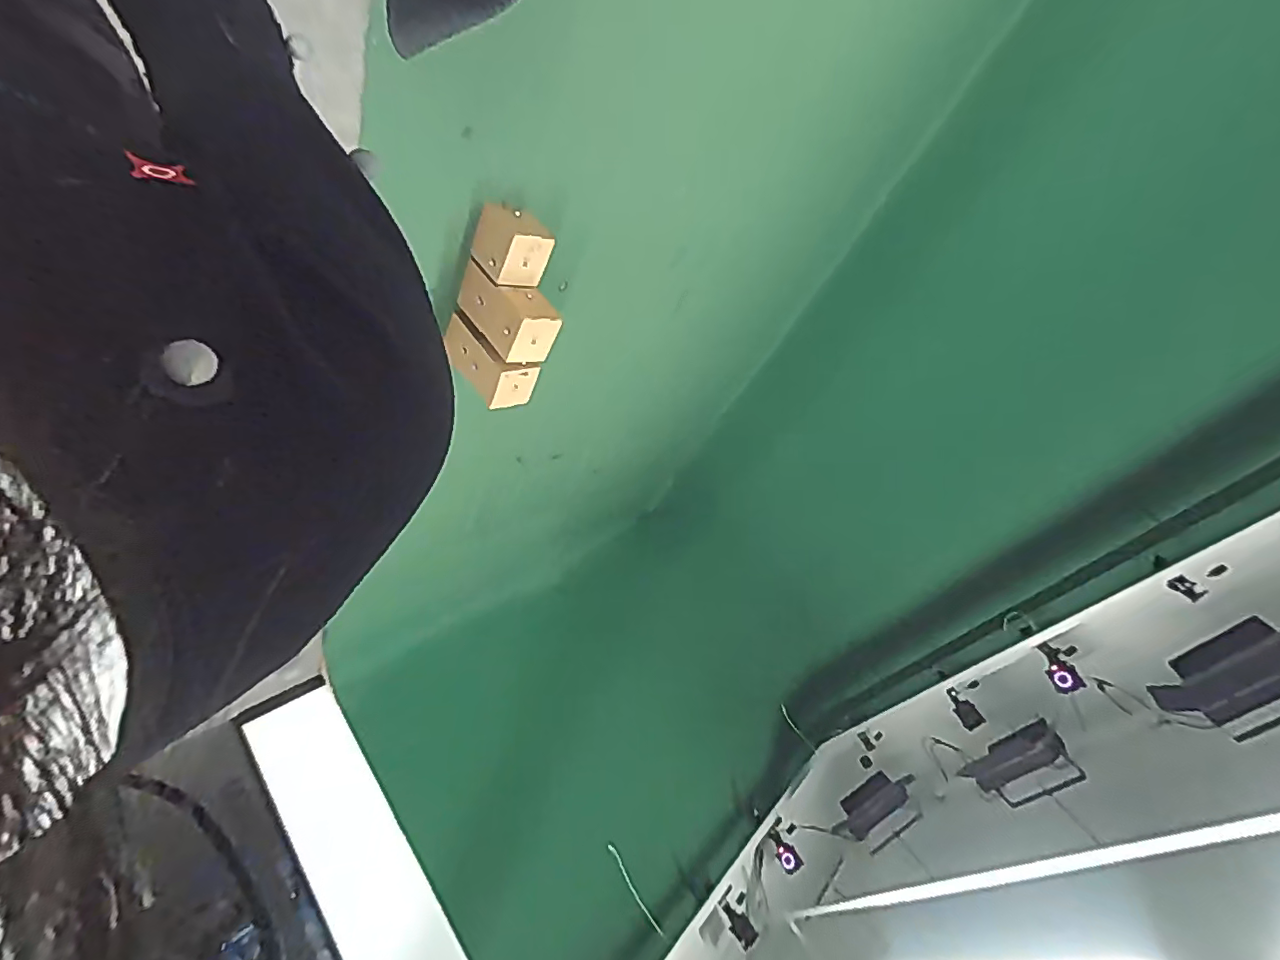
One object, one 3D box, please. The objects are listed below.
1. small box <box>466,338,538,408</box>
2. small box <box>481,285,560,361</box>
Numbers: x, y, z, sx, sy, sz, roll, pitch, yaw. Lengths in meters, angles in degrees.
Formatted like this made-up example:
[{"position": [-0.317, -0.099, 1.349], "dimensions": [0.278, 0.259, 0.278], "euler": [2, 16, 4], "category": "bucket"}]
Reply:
[{"position": [-0.497, -0.386, 1.923], "dimensions": [0.168, 0.176, 0.179], "euler": [-21, 154, -45], "category": "small box"}, {"position": [-0.405, -0.519, 1.803], "dimensions": [0.168, 0.176, 0.179], "euler": [-16, 149, -49], "category": "small box"}]
